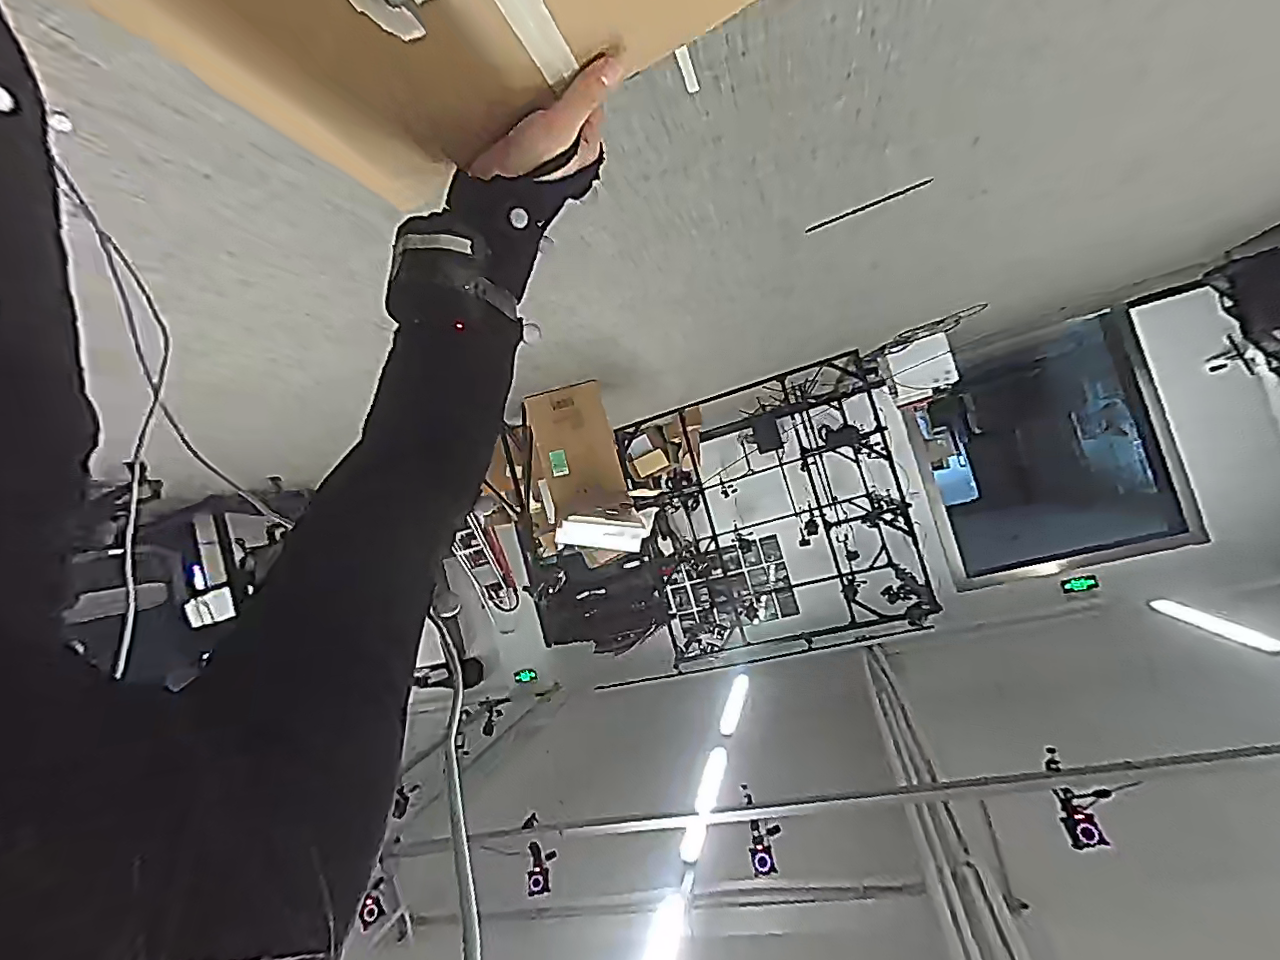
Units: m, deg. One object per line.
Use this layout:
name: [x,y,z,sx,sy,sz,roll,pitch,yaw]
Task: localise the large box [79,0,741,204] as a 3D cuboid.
large box: [-0.149,-0.390,0.186,0.320,0.320,0.408,-20,177,16]
